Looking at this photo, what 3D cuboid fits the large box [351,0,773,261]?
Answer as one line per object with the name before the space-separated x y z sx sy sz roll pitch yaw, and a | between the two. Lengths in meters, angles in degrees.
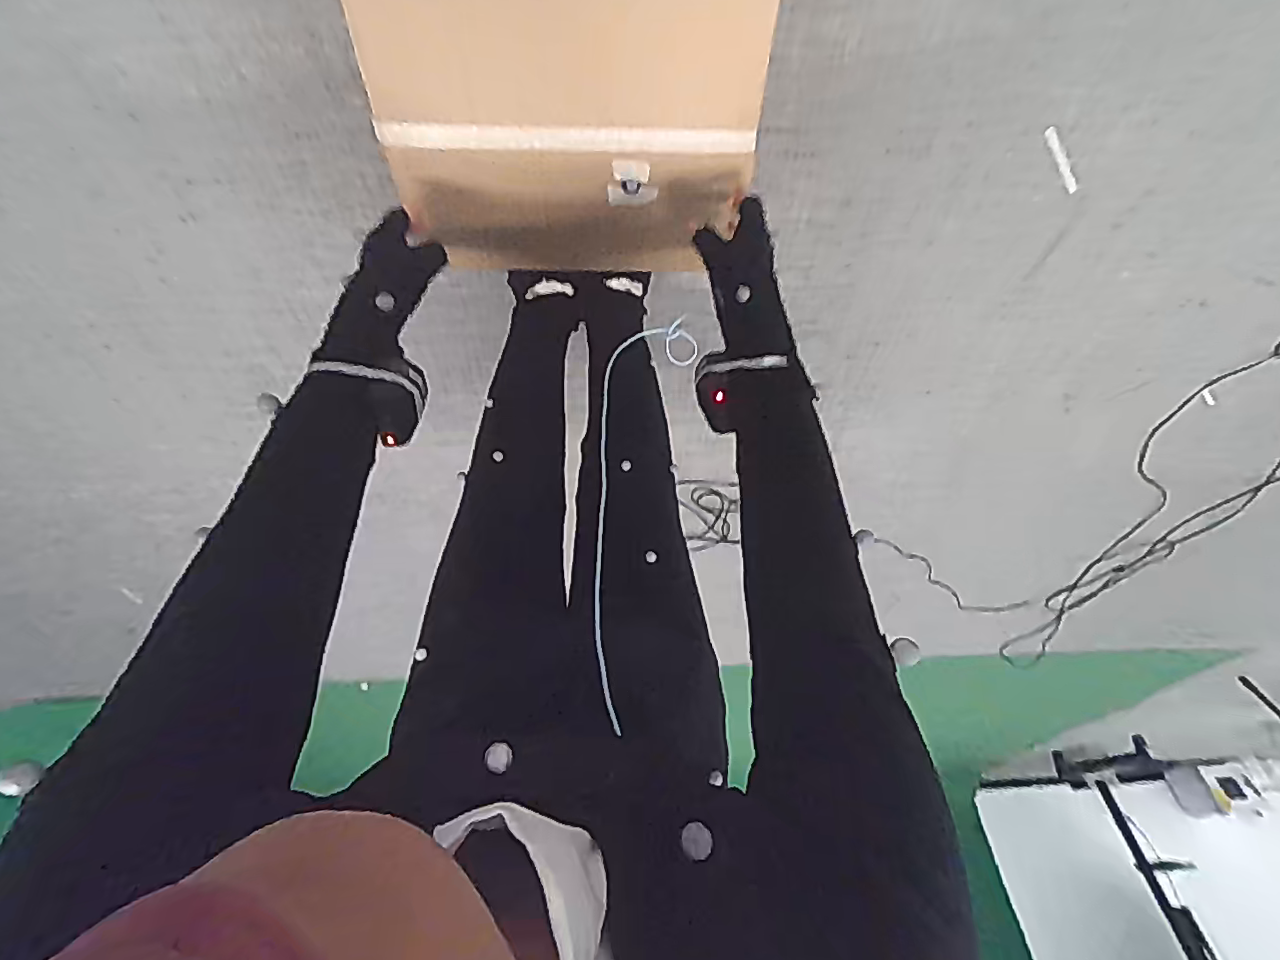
large box | -0.081 -0.498 0.681 0.408 0.320 0.320 -1 141 -3
